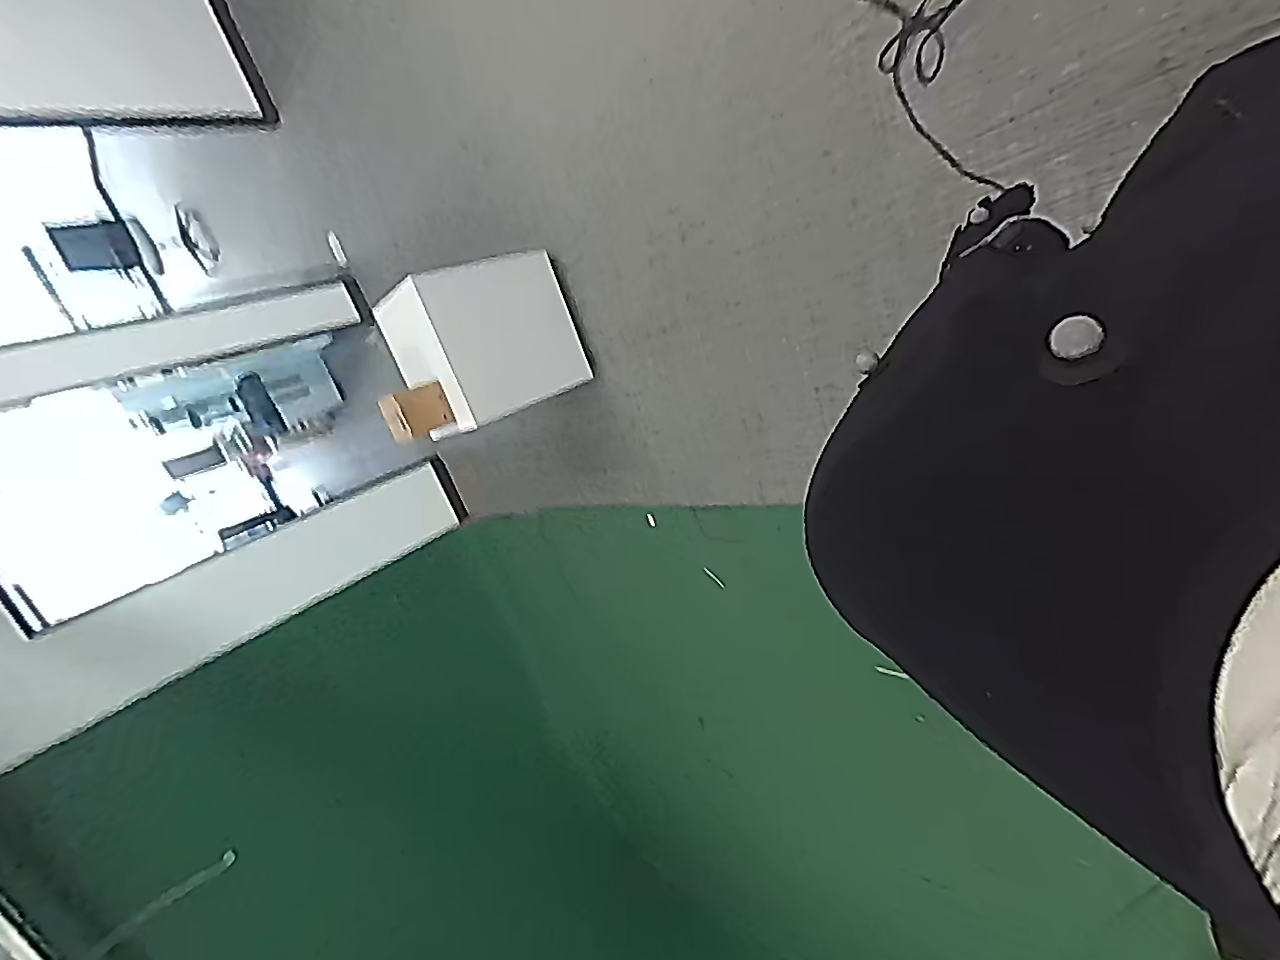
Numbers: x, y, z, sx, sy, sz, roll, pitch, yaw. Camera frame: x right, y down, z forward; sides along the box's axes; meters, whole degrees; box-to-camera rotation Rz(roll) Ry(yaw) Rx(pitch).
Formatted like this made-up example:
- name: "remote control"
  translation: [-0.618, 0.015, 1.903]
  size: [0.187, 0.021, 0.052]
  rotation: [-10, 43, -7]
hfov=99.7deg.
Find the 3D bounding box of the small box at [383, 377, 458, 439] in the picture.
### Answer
- name: "small box"
  translation: [-0.768, -0.256, 1.909]
  size: [0.179, 0.176, 0.168]
  rotation: [-2, 112, 48]
